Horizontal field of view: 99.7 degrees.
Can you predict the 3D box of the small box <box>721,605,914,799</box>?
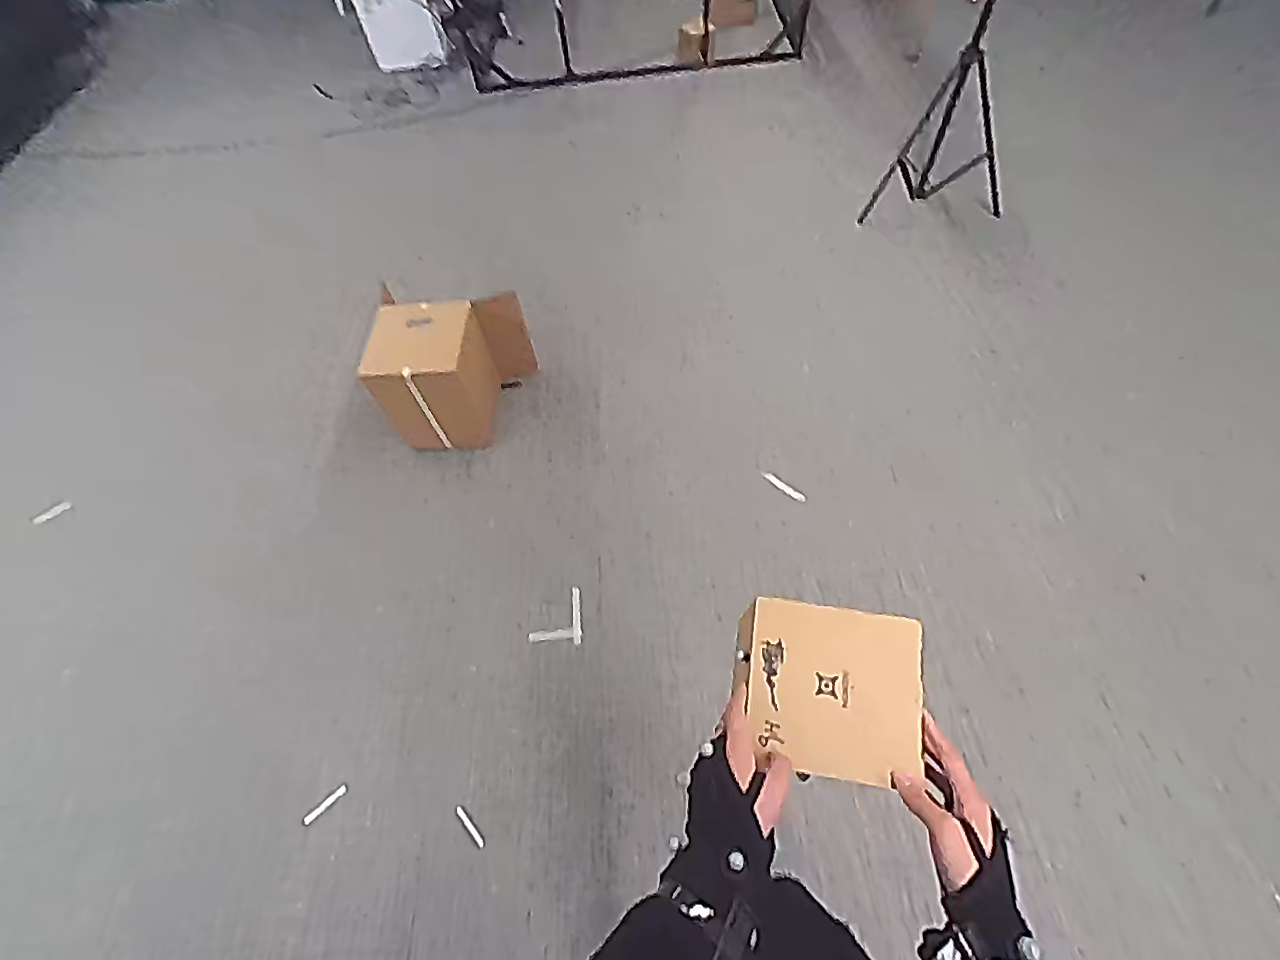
[{"bbox_3d":[0.198,0.253,0.636,0.179,0.176,0.168,8,69,6],"label":"small box"}]
